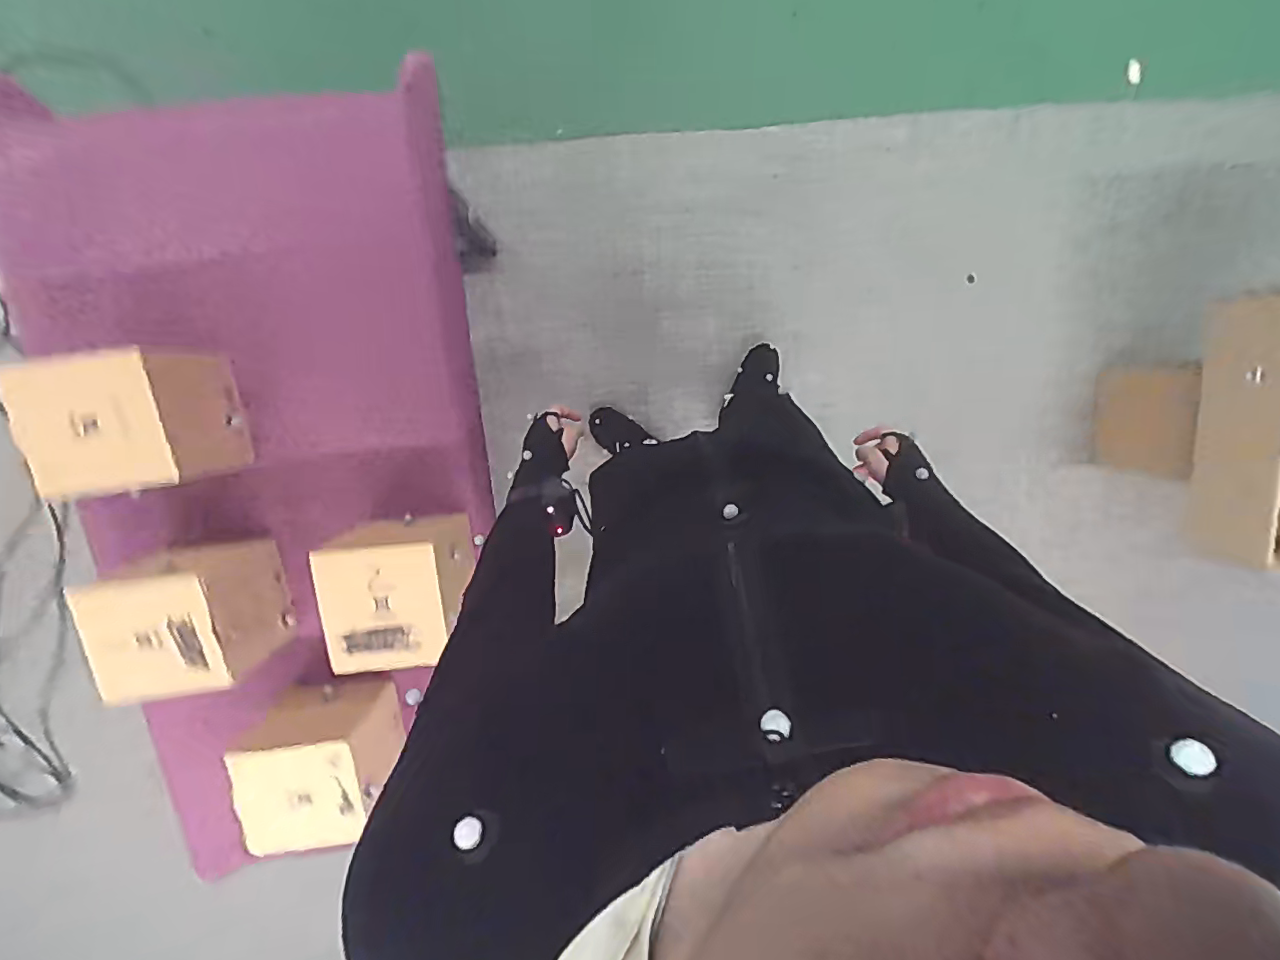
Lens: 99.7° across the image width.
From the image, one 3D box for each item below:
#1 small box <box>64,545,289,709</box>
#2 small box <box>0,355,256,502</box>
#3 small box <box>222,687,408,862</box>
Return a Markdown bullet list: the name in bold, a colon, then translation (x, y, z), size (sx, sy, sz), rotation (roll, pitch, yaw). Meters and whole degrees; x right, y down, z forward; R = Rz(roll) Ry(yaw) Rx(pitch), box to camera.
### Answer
- **small box**: translation (-0.651, 0.203, 0.792), size (0.179, 0.176, 0.168), rotation (-8, 100, -2)
- **small box**: translation (-0.683, -0.075, 0.742), size (0.179, 0.176, 0.168), rotation (-8, 101, -3)
- **small box**: translation (-0.489, 0.446, 0.842), size (0.179, 0.176, 0.168), rotation (-6, 102, -2)
